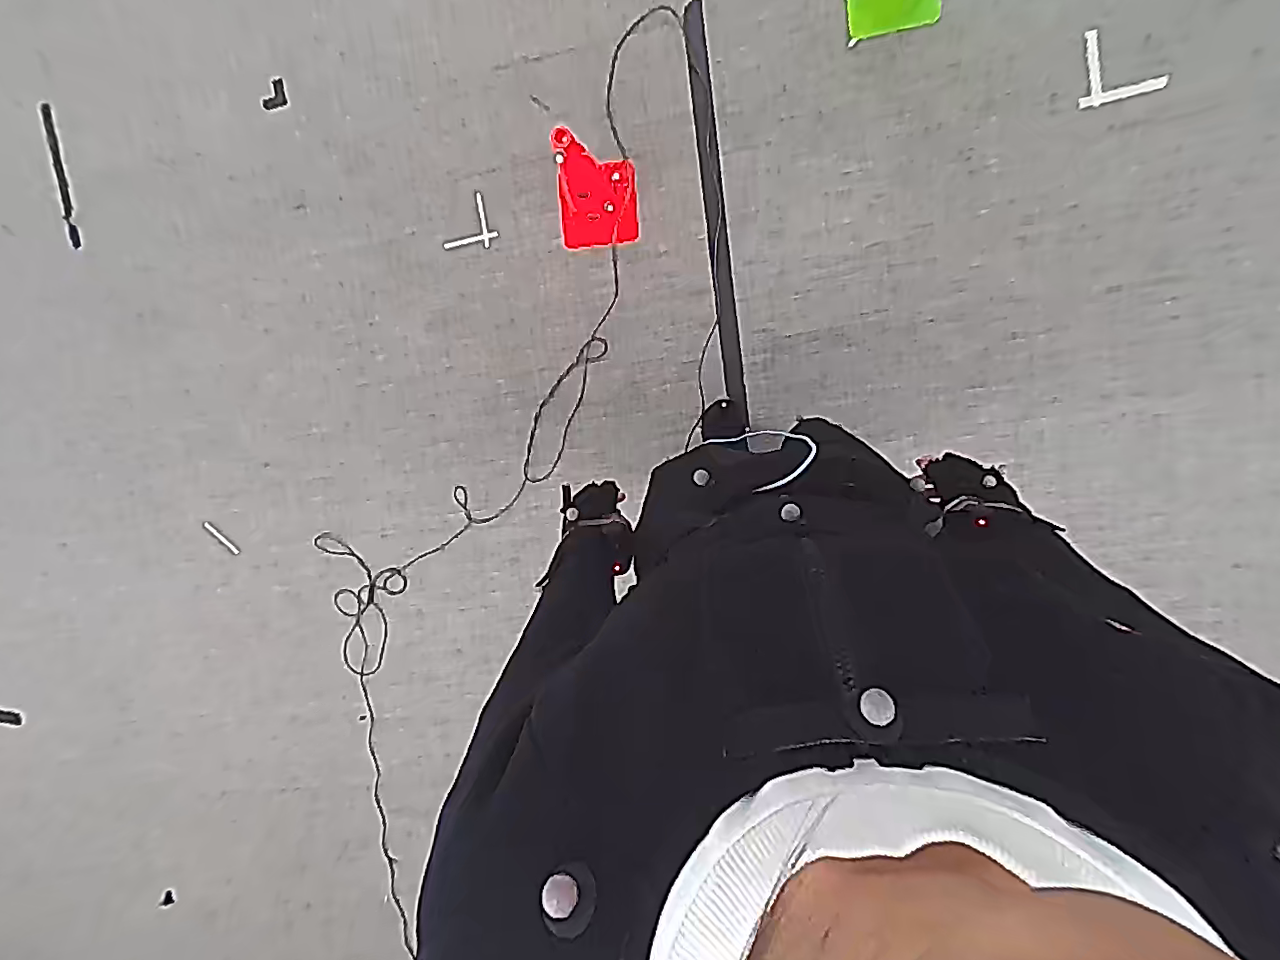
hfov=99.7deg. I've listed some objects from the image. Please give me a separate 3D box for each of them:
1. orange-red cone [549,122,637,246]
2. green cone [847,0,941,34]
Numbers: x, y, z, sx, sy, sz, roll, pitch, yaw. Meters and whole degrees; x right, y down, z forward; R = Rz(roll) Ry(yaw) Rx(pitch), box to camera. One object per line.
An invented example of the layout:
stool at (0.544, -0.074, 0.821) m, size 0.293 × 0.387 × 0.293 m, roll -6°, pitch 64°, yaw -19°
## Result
orange-red cone at (-0.133, -0.681, 1.201) m, size 0.199 × 0.360 × 0.198 m, roll -2°, pitch 96°, yaw 9°
green cone at (0.547, -1.102, 1.048) m, size 0.202 × 0.368 × 0.200 m, roll -7°, pitch 97°, yaw 8°
